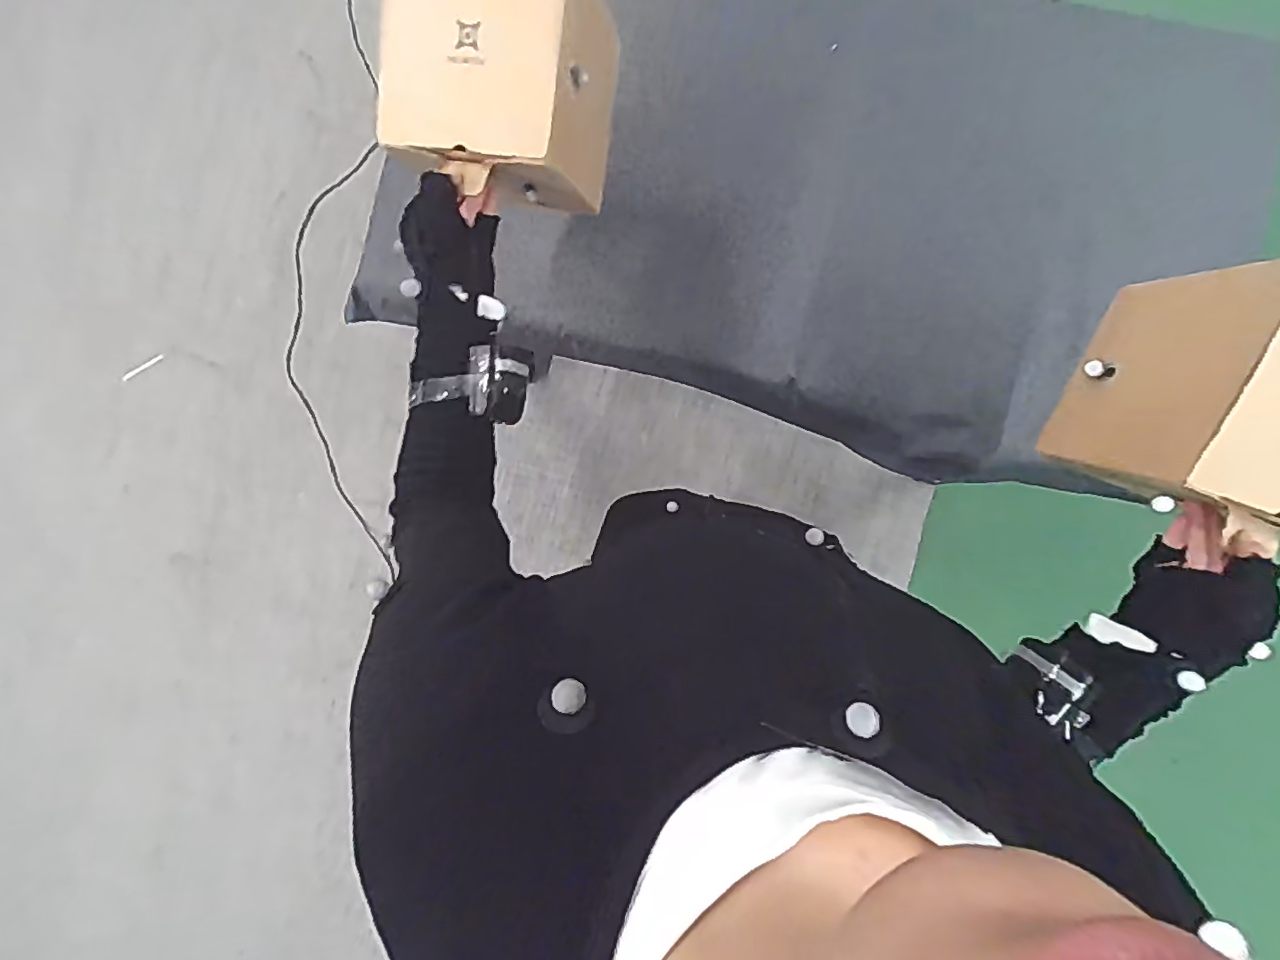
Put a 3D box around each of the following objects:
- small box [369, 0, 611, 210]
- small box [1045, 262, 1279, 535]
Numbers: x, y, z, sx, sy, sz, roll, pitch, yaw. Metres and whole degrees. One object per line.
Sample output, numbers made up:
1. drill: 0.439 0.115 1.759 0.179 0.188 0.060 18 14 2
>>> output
1. small box: -0.133 -0.380 0.525 0.168 0.176 0.179 11 103 8
2. small box: 0.507 -0.065 0.469 0.168 0.176 0.179 20 103 -3
